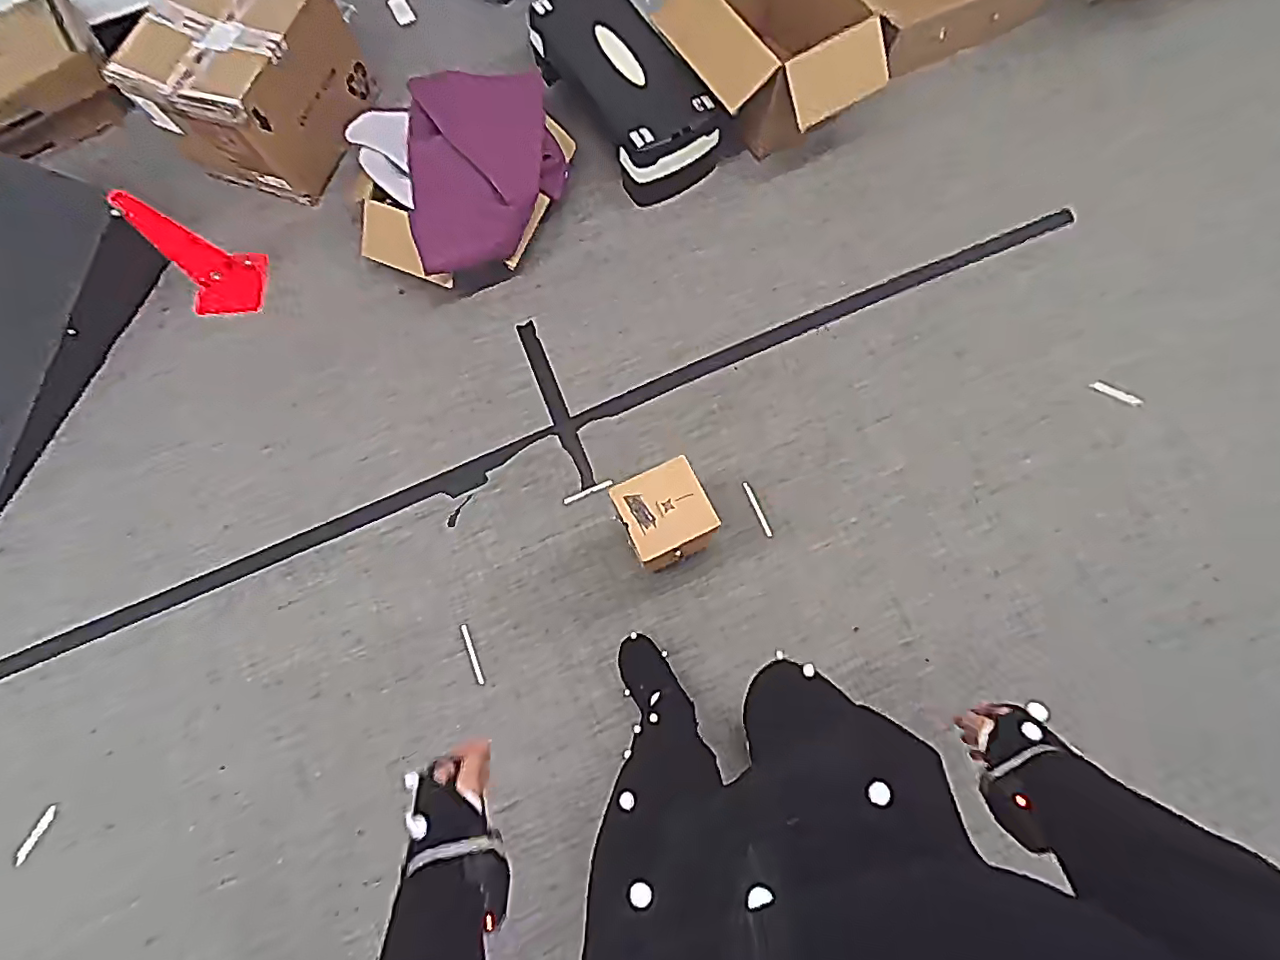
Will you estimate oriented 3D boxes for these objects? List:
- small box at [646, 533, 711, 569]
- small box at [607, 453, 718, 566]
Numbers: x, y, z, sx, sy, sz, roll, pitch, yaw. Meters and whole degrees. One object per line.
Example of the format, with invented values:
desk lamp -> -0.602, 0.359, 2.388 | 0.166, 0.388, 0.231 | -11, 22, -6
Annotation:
small box -> 0.056, 0.105, 1.307 | 0.168, 0.176, 0.179 | -26, 78, -5
small box -> 0.046, 0.071, 1.145 | 0.179, 0.176, 0.168 | -25, 77, -5
